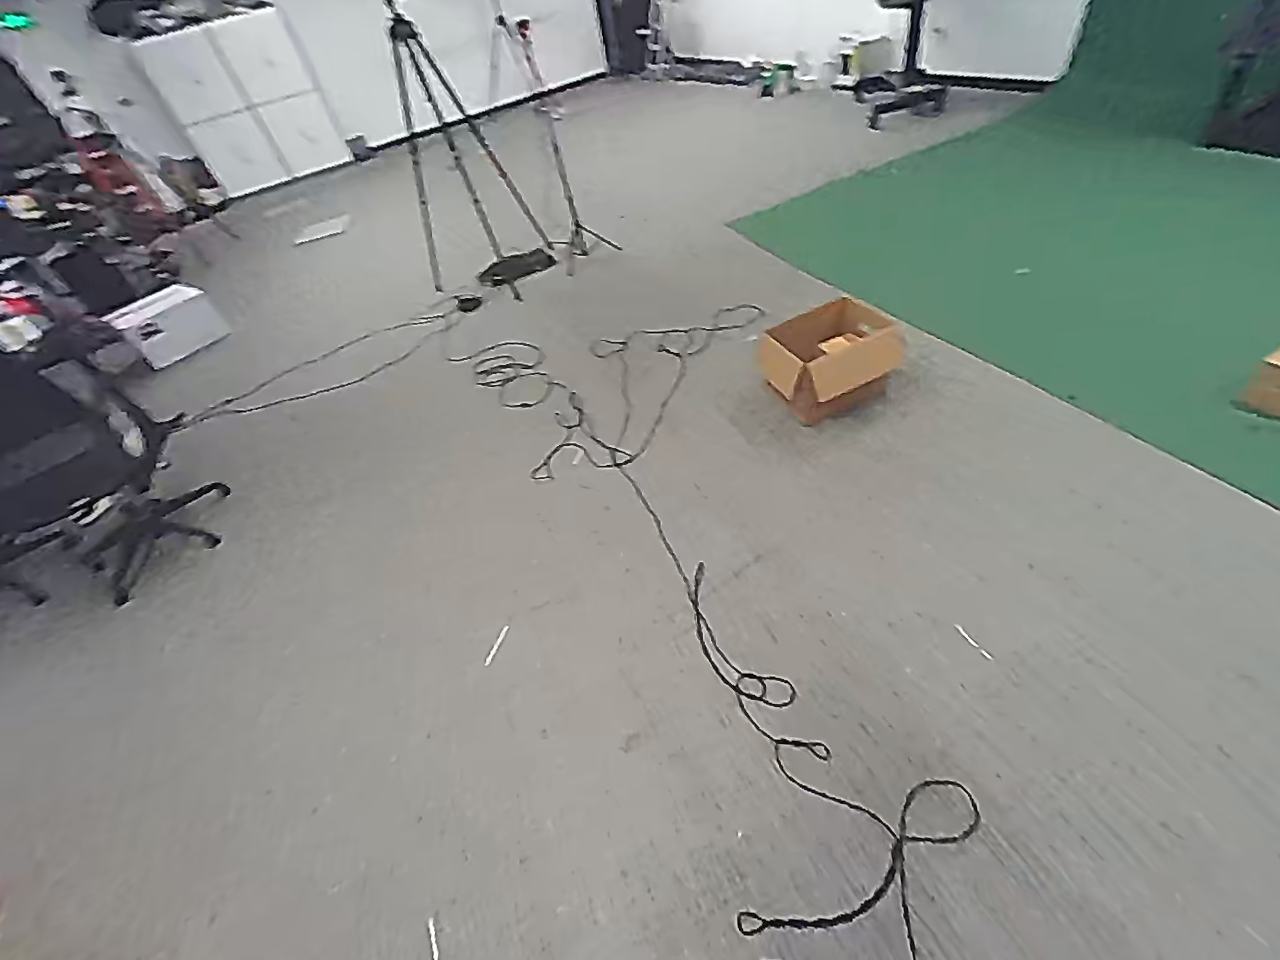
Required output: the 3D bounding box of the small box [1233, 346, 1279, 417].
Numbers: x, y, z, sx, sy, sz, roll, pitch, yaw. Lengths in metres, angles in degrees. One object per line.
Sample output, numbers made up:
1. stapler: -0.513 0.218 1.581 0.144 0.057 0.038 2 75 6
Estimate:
1. small box: 2.119 -0.321 1.754 0.168 0.176 0.179 -27 44 -12
